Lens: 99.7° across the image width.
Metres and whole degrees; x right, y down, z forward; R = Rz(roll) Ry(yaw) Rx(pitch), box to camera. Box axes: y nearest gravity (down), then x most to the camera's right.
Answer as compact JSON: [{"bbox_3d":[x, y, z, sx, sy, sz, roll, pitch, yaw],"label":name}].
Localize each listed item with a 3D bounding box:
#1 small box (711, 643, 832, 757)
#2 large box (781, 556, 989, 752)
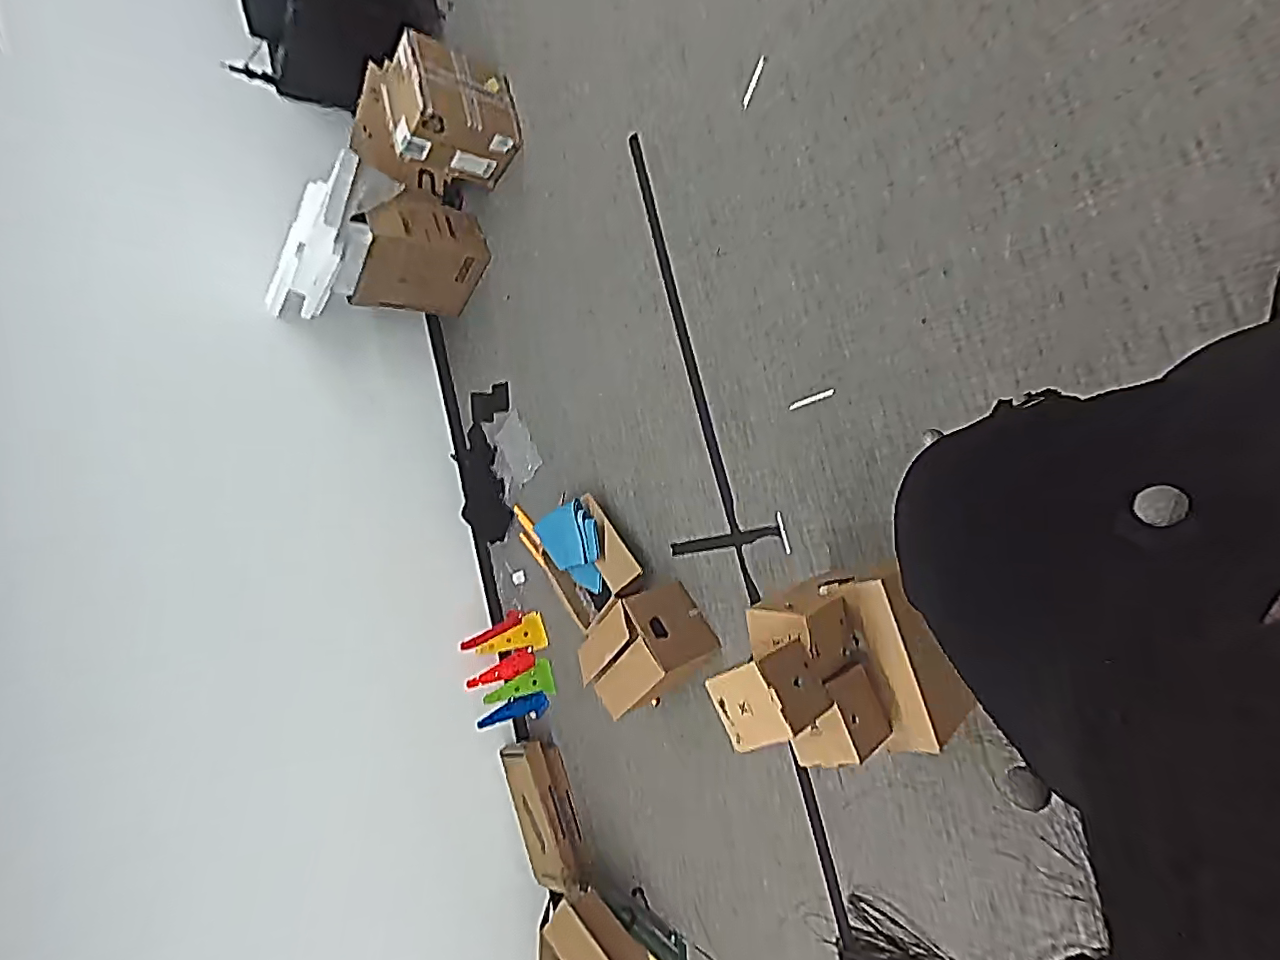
[{"bbox_3d":[0.299,0.485,1.206,0.179,0.176,0.168,-43,65,41],"label":"small box"},{"bbox_3d":[0.643,0.450,1.430,0.320,0.320,0.408,-27,76,45],"label":"large box"}]
